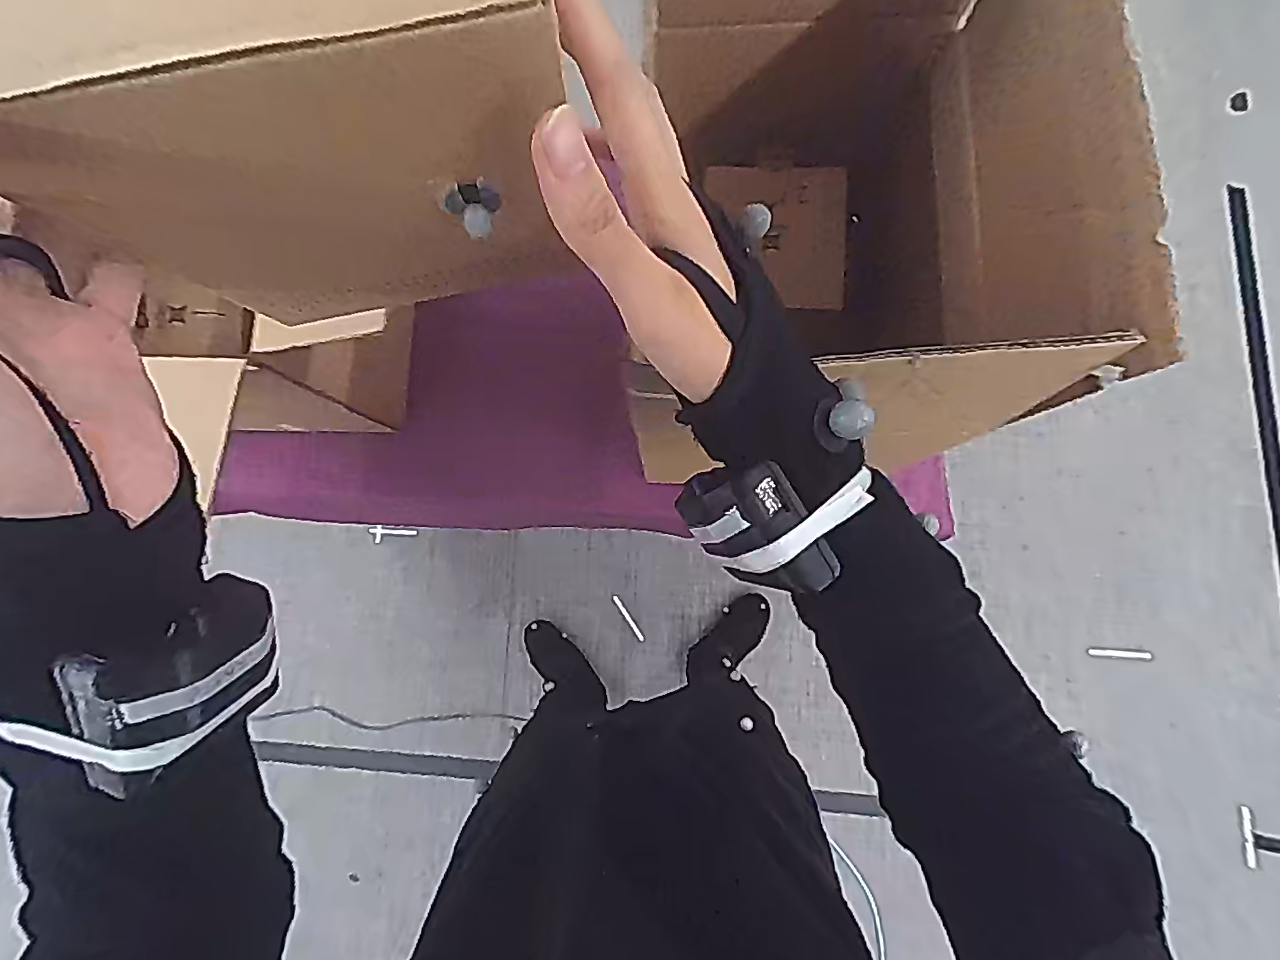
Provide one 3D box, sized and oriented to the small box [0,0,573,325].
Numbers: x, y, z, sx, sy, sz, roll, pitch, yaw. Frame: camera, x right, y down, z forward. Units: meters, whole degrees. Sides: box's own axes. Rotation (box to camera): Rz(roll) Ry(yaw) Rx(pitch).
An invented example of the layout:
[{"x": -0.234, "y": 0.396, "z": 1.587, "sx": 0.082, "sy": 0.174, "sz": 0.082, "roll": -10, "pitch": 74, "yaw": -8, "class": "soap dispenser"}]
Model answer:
[{"x": -0.129, "y": -0.180, "z": 0.227, "sx": 0.179, "sy": 0.176, "sz": 0.168, "roll": -11, "pitch": 89, "yaw": 0, "class": "small box"}]
